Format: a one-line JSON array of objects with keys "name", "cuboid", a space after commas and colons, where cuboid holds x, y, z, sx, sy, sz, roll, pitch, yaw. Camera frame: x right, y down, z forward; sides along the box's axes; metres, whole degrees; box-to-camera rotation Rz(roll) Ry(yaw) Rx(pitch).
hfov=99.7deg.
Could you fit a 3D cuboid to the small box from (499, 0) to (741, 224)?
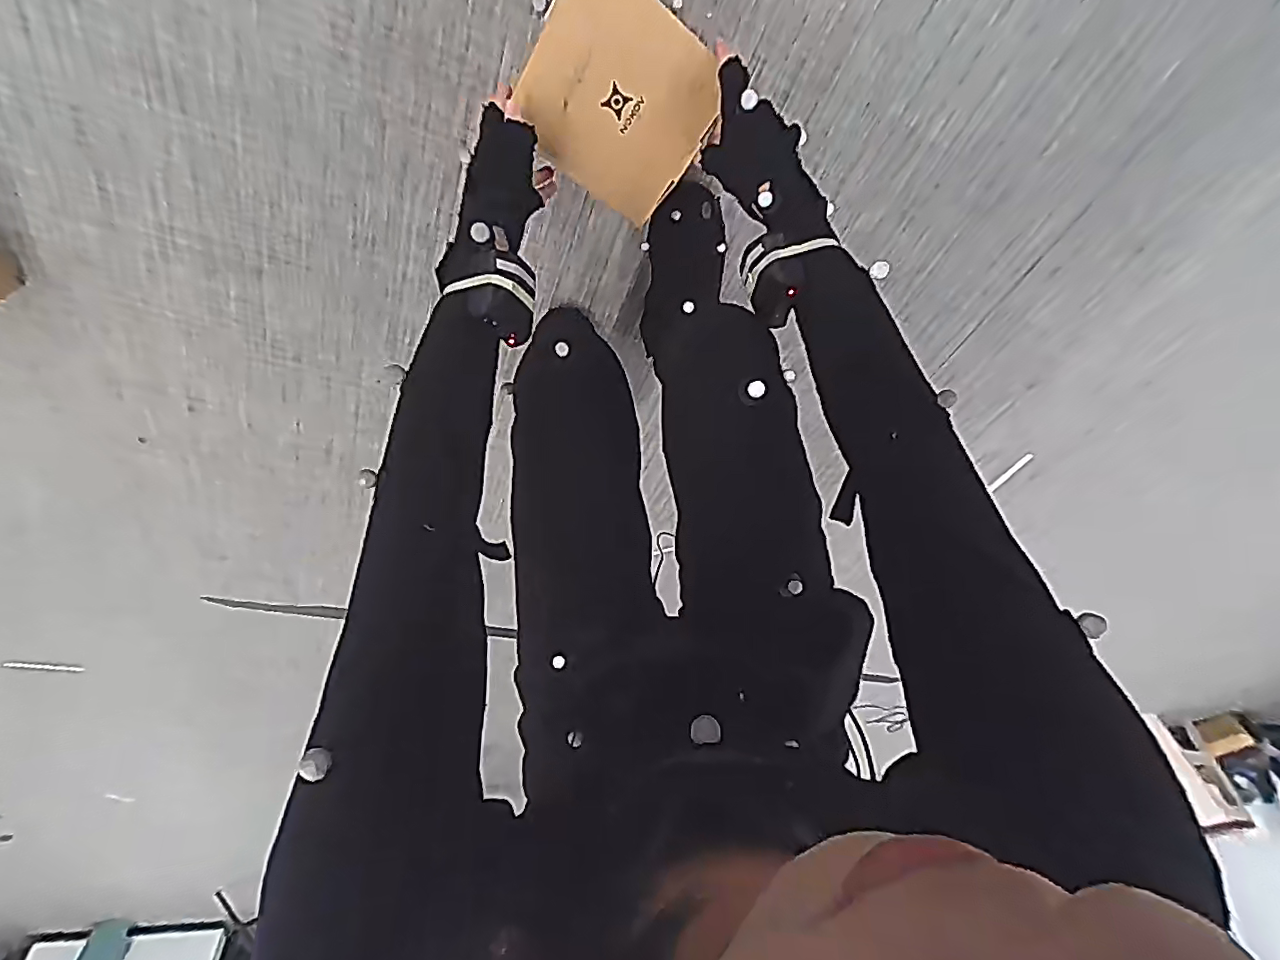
[{"name": "small box", "cuboid": [-0.026, -0.415, 0.568, 0.179, 0.176, 0.168, 25, 125, -28]}]
